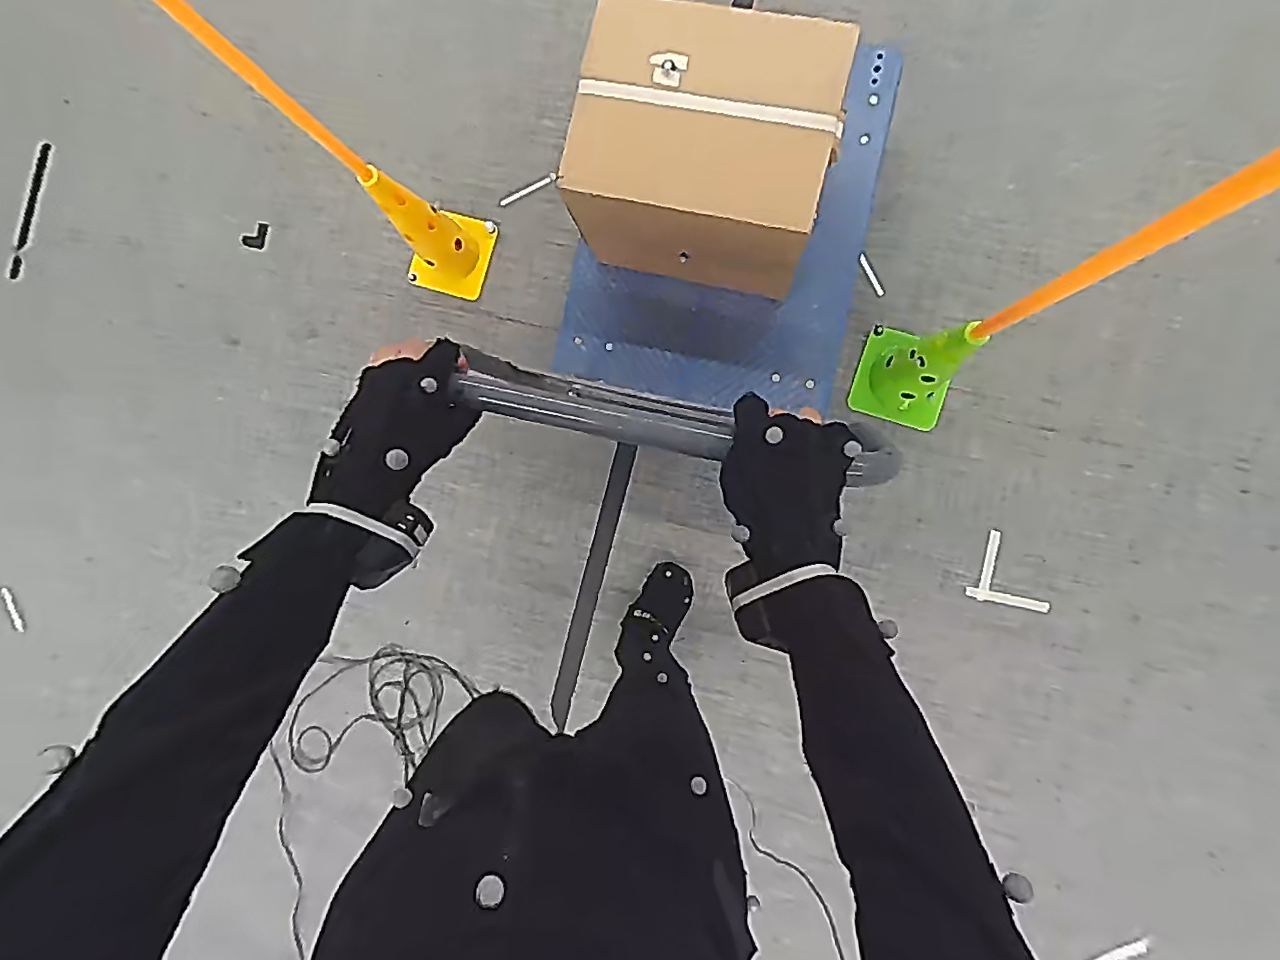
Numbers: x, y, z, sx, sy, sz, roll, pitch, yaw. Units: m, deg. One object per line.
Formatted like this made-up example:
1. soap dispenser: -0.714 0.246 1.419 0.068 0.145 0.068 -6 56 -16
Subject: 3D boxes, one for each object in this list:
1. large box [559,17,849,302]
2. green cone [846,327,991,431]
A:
1. large box: 0.115 -0.551 0.990 0.408 0.320 0.320 14 92 8
2. green cone: 0.573 -0.230 1.067 0.202 0.368 0.200 18 92 6
